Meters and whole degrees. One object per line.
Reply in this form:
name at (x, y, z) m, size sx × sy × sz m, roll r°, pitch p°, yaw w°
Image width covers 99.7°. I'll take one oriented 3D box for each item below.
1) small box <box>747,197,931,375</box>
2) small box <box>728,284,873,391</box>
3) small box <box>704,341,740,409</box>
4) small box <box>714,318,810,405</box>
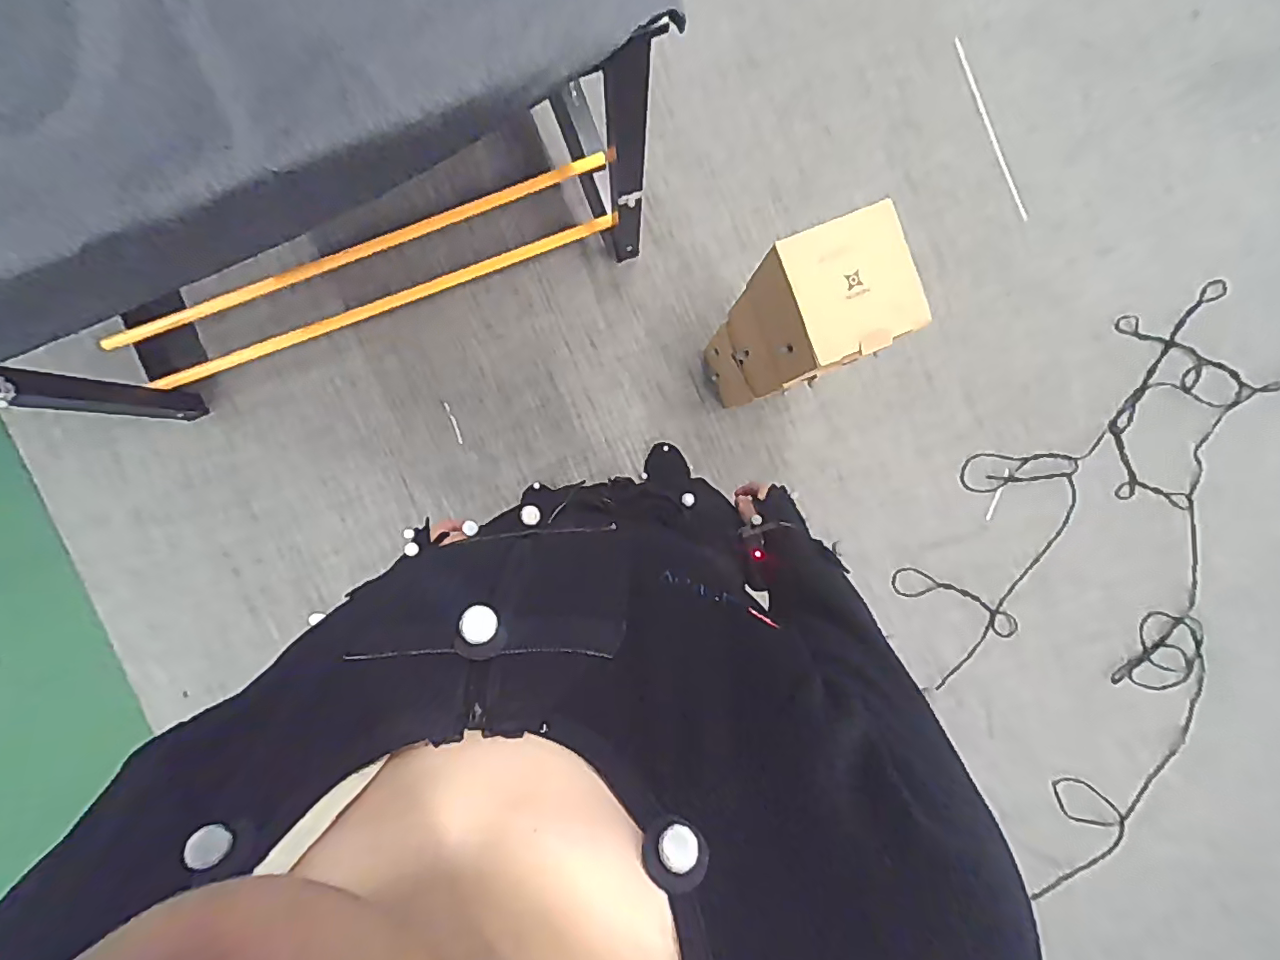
small box at (0.275, -0.263, 0.786) m, size 0.168 × 0.176 × 0.179 m, roll -22°, pitch 92°, yaw -1°
small box at (0.270, -0.264, 0.948) m, size 0.168 × 0.176 × 0.179 m, roll -21°, pitch 94°, yaw -2°
small box at (0.268, -0.278, 1.275) m, size 0.179 × 0.176 × 0.168 m, roll -21°, pitch 92°, yaw -2°
small box at (0.264, -0.263, 1.112) m, size 0.179 × 0.176 × 0.168 m, roll -23°, pitch 93°, yaw -2°
